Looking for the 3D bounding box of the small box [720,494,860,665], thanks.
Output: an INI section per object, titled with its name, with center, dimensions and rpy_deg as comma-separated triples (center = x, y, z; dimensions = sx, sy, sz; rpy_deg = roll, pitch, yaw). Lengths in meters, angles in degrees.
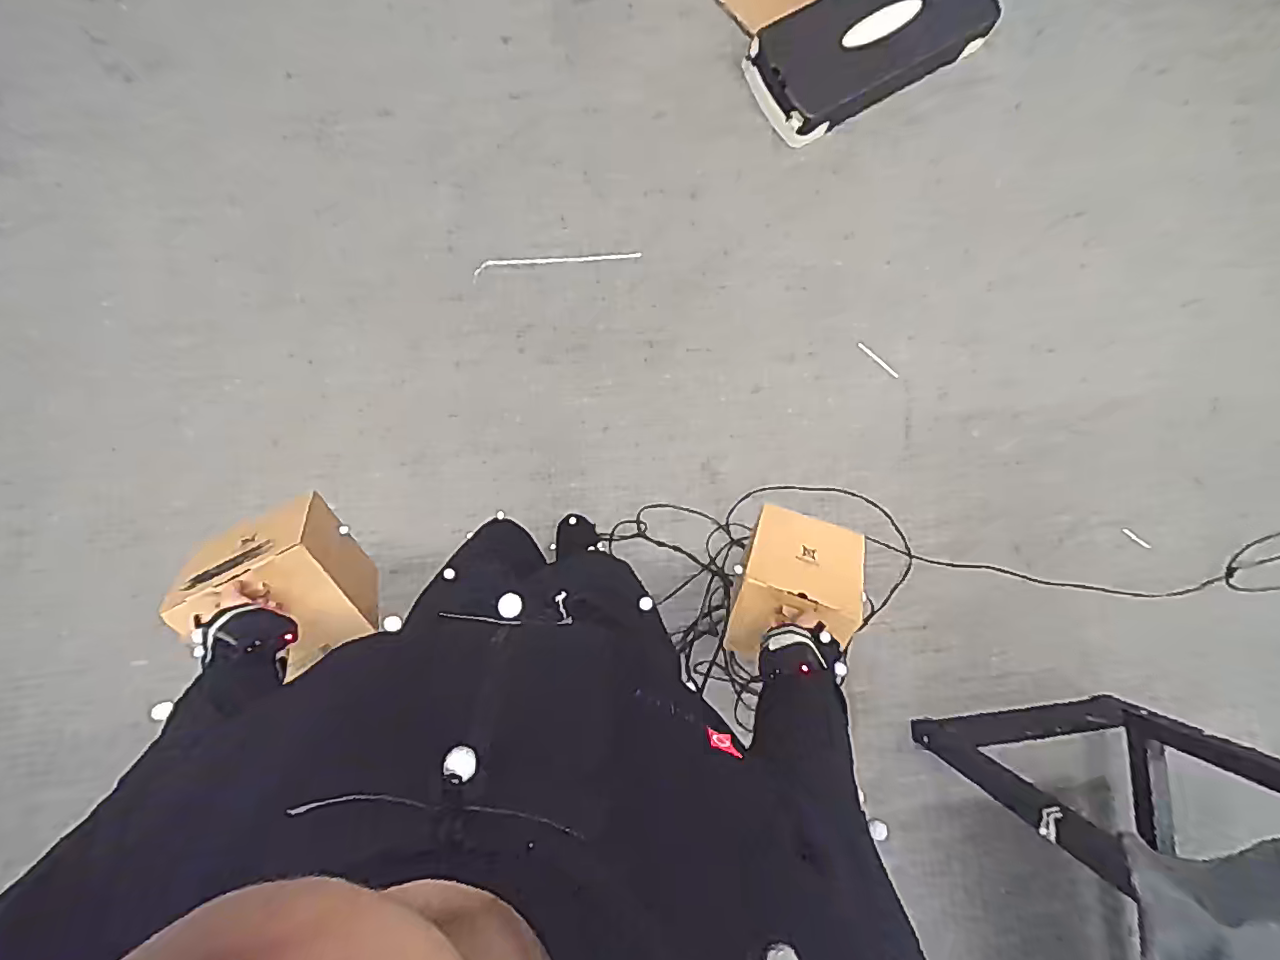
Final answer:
[small box]
center = 0.235, 0.157, 0.859
dimensions = 0.168, 0.176, 0.179
rpy_deg = 17, 42, 9
